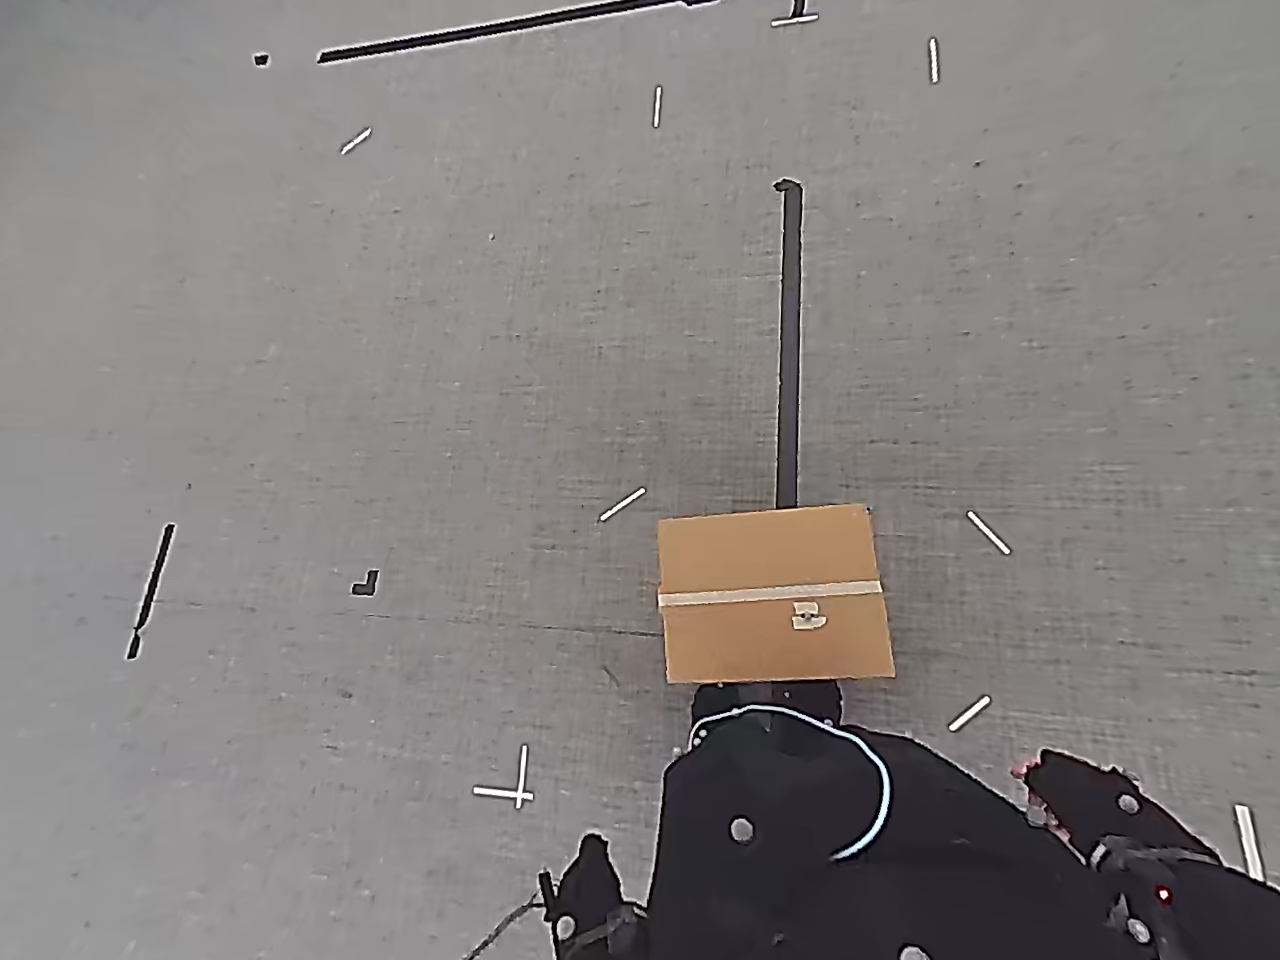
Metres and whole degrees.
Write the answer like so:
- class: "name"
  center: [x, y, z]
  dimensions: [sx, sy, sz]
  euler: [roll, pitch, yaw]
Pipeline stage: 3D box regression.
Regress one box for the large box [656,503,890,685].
- class: "large box"
  center: [0.261, 0.247, 1.155]
  dimensions: [0.408, 0.320, 0.320]
  euler: [-6, 76, 9]
